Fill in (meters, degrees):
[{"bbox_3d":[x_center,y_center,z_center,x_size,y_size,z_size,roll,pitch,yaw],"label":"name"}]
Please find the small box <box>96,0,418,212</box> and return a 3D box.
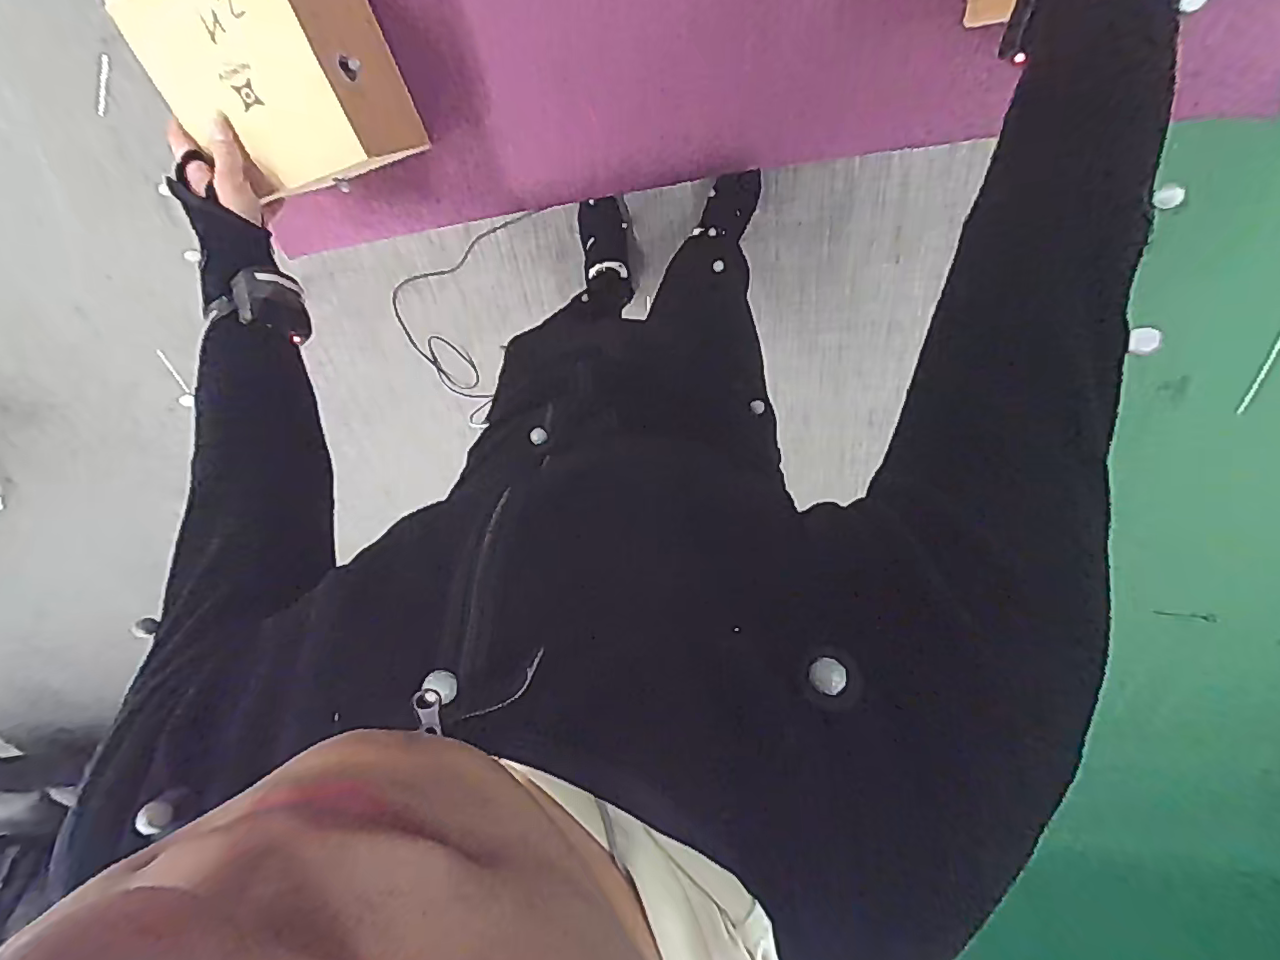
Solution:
[{"bbox_3d":[-0.366,-0.407,0.561,0.168,0.176,0.179,-11,124,11],"label":"small box"}]
